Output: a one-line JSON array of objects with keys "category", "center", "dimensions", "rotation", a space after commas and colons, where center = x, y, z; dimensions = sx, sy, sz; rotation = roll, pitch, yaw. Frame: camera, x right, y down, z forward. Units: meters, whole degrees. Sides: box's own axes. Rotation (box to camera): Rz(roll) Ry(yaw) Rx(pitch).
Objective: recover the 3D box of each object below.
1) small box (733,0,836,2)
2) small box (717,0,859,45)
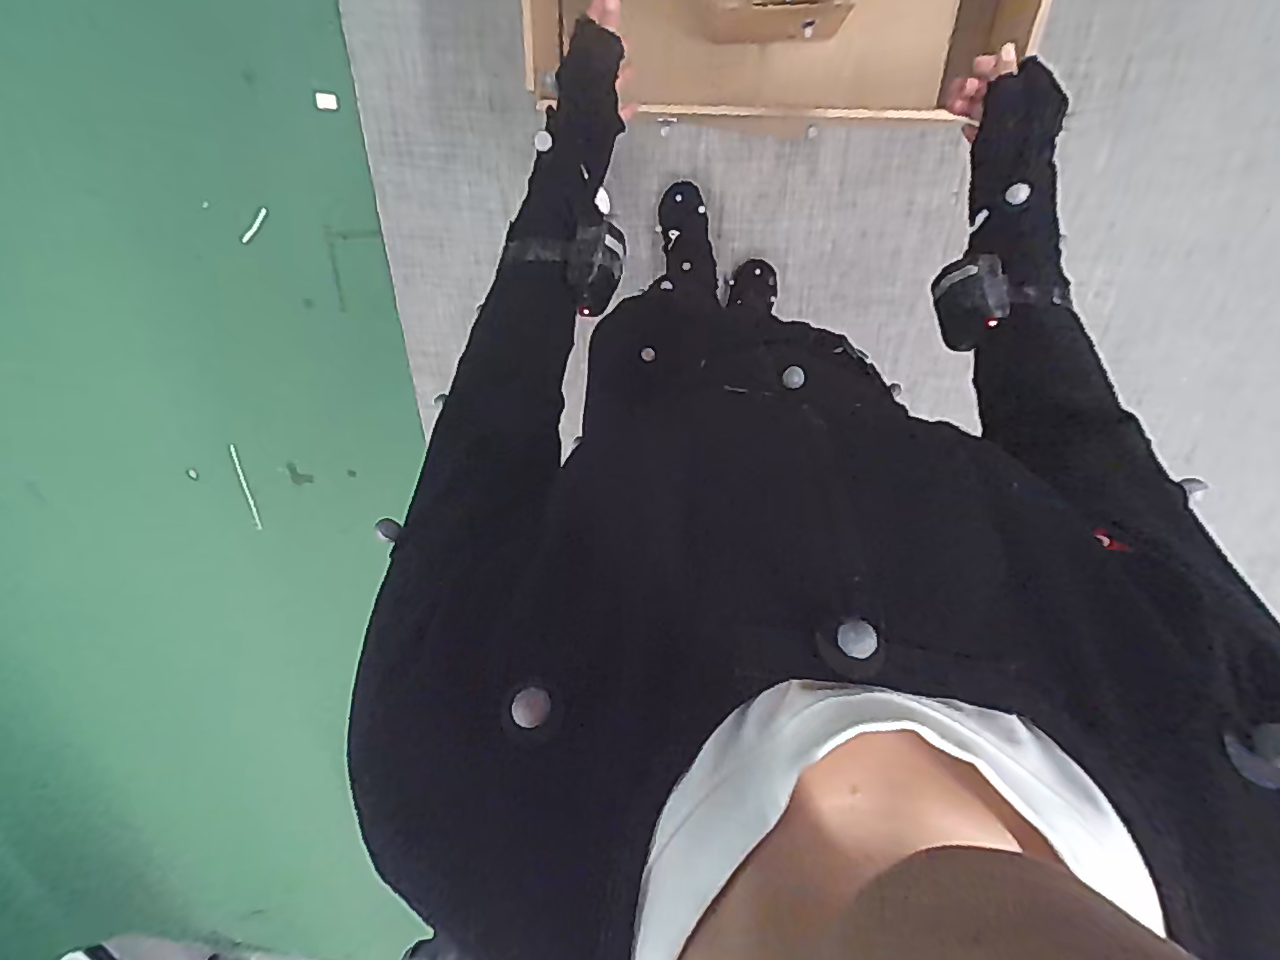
[{"category": "small box", "center": [0.155, -0.586, 0.513], "dimensions": [0.168, 0.176, 0.179], "rotation": [3, 118, 5]}, {"category": "small box", "center": [0.181, -0.657, 0.658], "dimensions": [0.168, 0.176, 0.179], "rotation": [2, 116, 6]}]
